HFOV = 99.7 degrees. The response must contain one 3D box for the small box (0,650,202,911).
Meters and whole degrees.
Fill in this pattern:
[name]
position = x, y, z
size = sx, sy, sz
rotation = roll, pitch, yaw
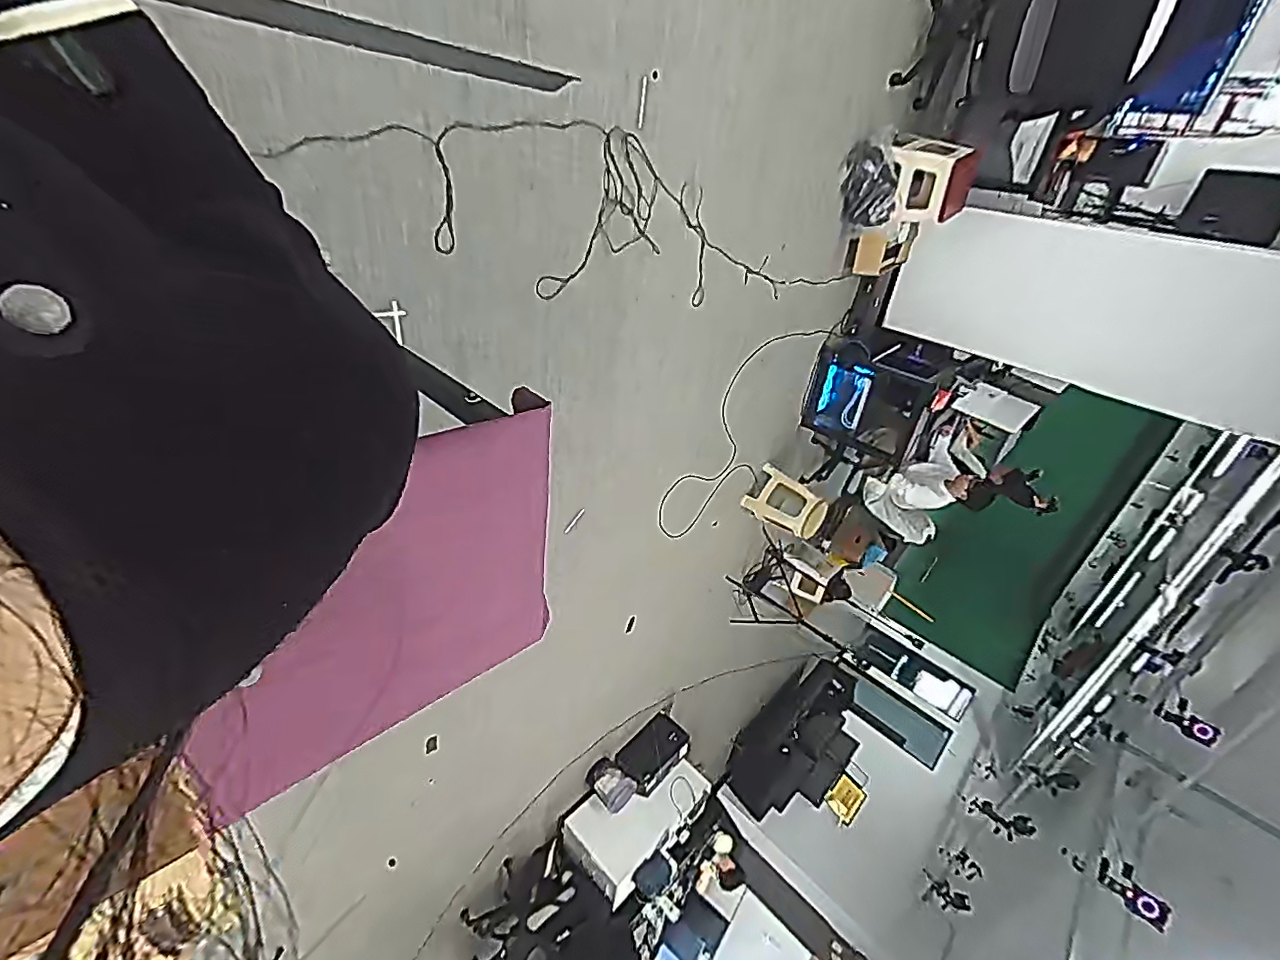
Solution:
[small box]
position = -0.670, 0.340, 0.647
size = 0.179, 0.176, 0.168
rotation = -21, 130, -42
